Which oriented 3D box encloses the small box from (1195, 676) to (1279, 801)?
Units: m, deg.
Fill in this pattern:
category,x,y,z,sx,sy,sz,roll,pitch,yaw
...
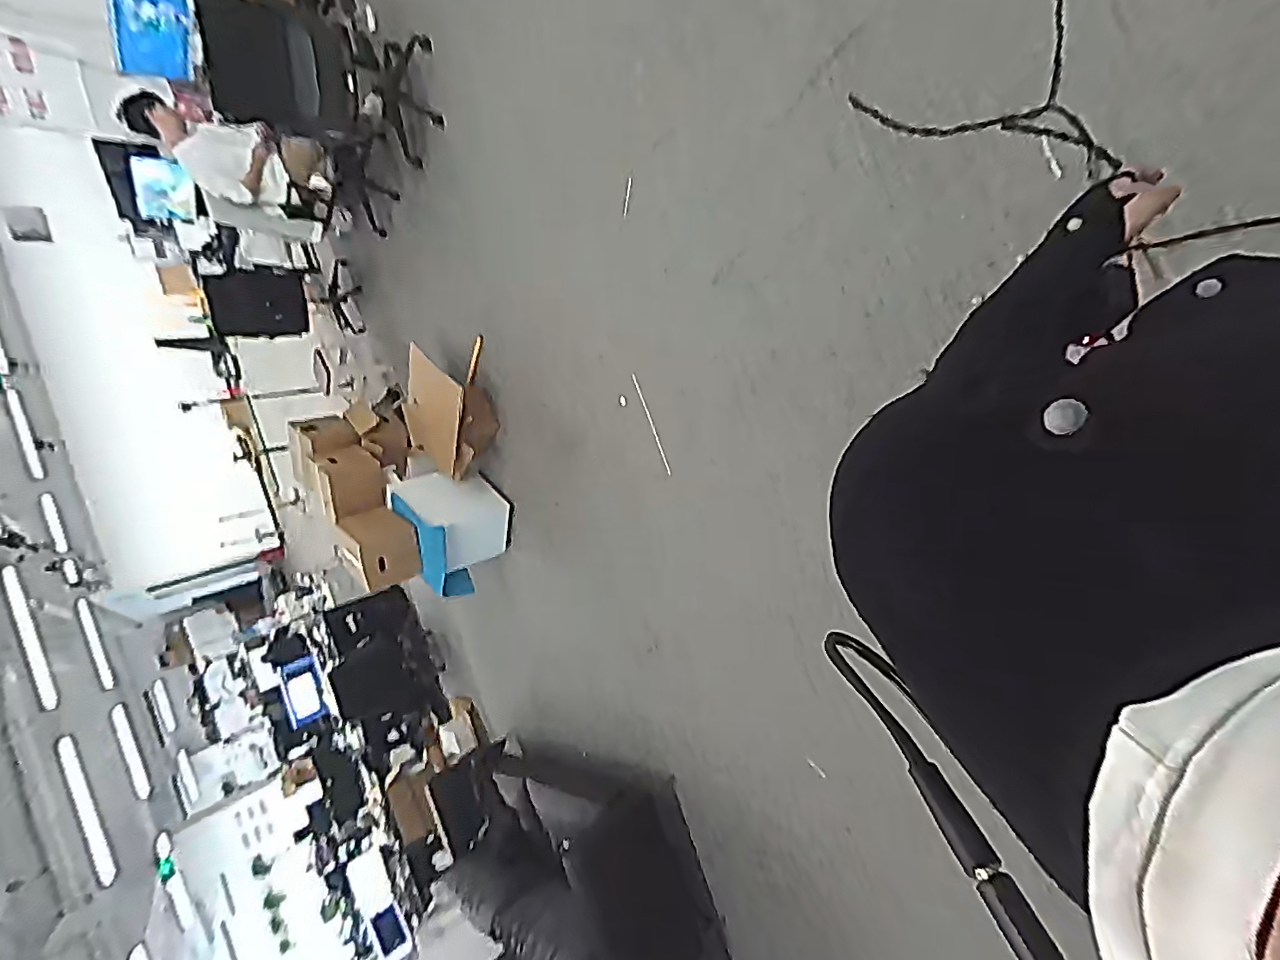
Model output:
category,x,y,z,sx,sy,sz,roll,pitch,yaw
small box,1.272,0.526,1.109,0.168,0.176,0.179,-14,93,49
